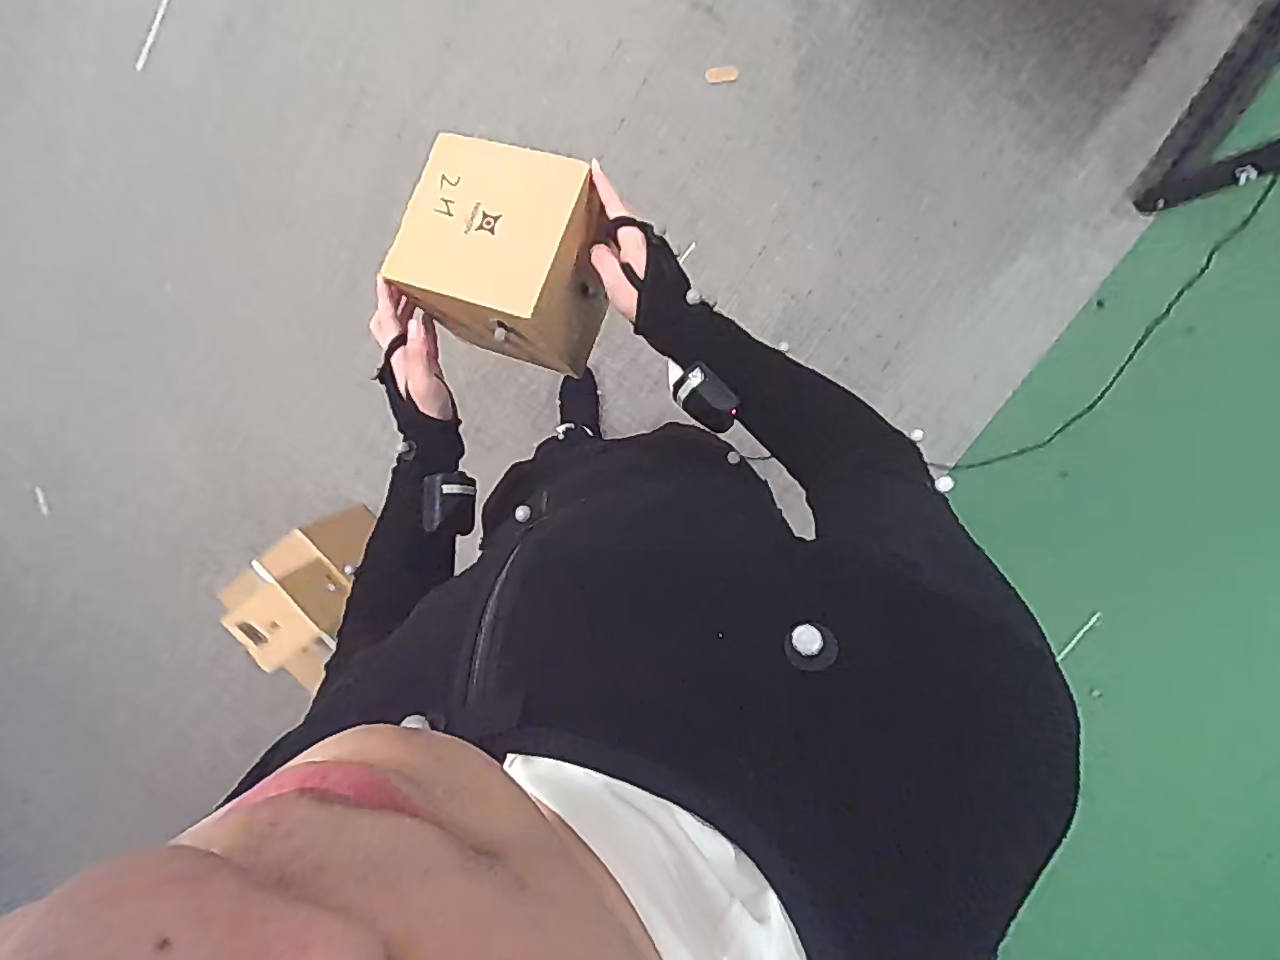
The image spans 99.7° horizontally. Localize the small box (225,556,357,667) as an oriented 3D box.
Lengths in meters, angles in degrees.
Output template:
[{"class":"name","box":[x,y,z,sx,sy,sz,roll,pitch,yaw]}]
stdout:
[{"class":"small box","box":[-0.846,0.315,1.330,0.179,0.176,0.168,-36,98,6]}]
